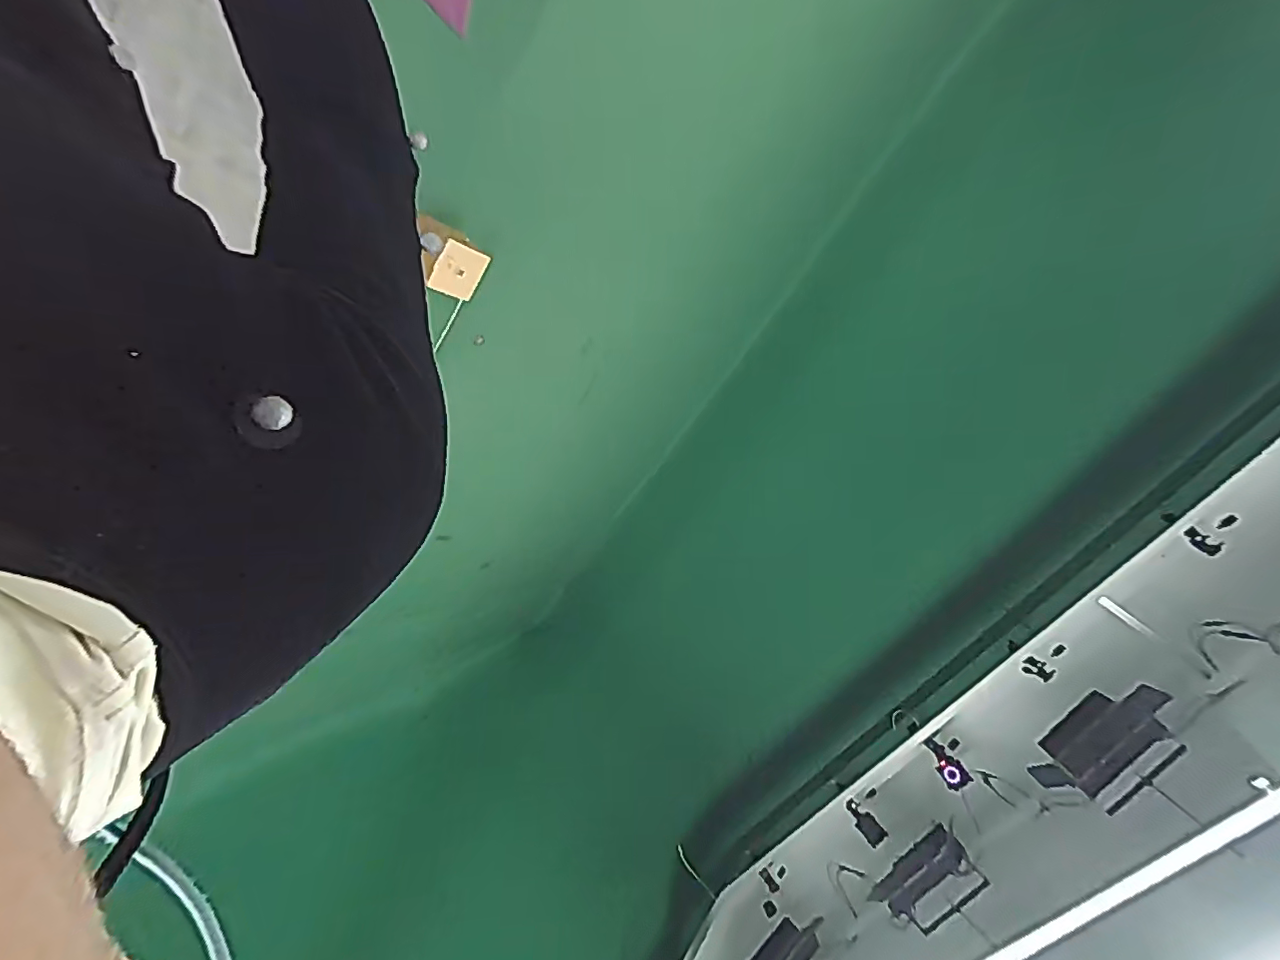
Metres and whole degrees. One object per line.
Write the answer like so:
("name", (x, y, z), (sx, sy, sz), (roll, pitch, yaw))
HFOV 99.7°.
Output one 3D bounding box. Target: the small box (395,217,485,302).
("small box", (-0.639, -0.704, 1.727), (0.168, 0.176, 0.179), (-54, 157, 18))
